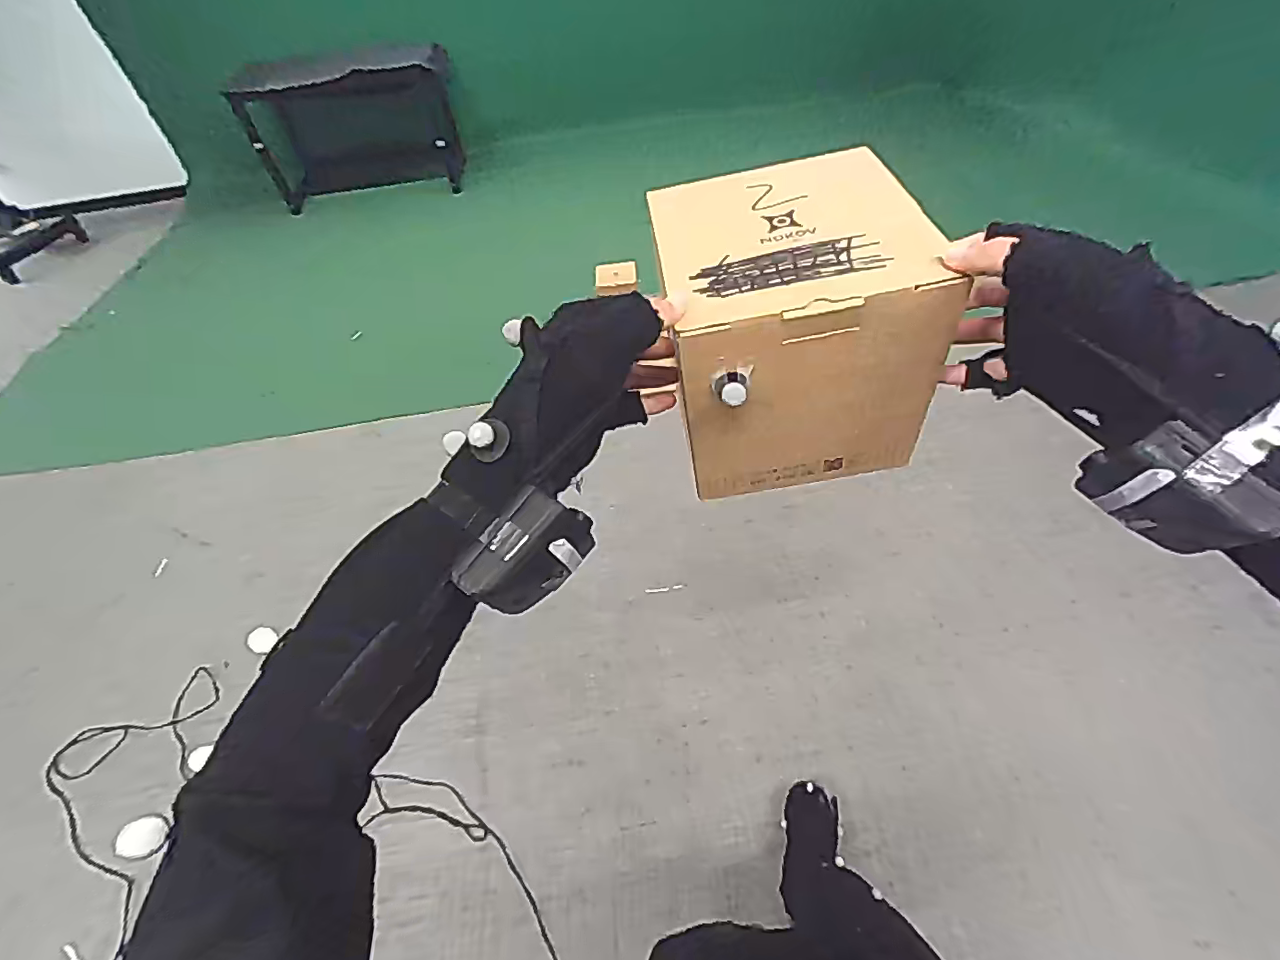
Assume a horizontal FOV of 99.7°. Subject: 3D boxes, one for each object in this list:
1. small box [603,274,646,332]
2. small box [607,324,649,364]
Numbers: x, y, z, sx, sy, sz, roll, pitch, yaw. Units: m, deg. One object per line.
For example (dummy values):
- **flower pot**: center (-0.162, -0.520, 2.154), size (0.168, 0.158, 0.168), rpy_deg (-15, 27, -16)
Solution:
- **small box**: center (-0.064, -0.747, 2.284), size (0.168, 0.176, 0.179), rpy_deg (-5, 48, 3)
- **small box**: center (-0.052, -0.628, 2.396), size (0.168, 0.176, 0.179), rpy_deg (-6, 47, 2)
